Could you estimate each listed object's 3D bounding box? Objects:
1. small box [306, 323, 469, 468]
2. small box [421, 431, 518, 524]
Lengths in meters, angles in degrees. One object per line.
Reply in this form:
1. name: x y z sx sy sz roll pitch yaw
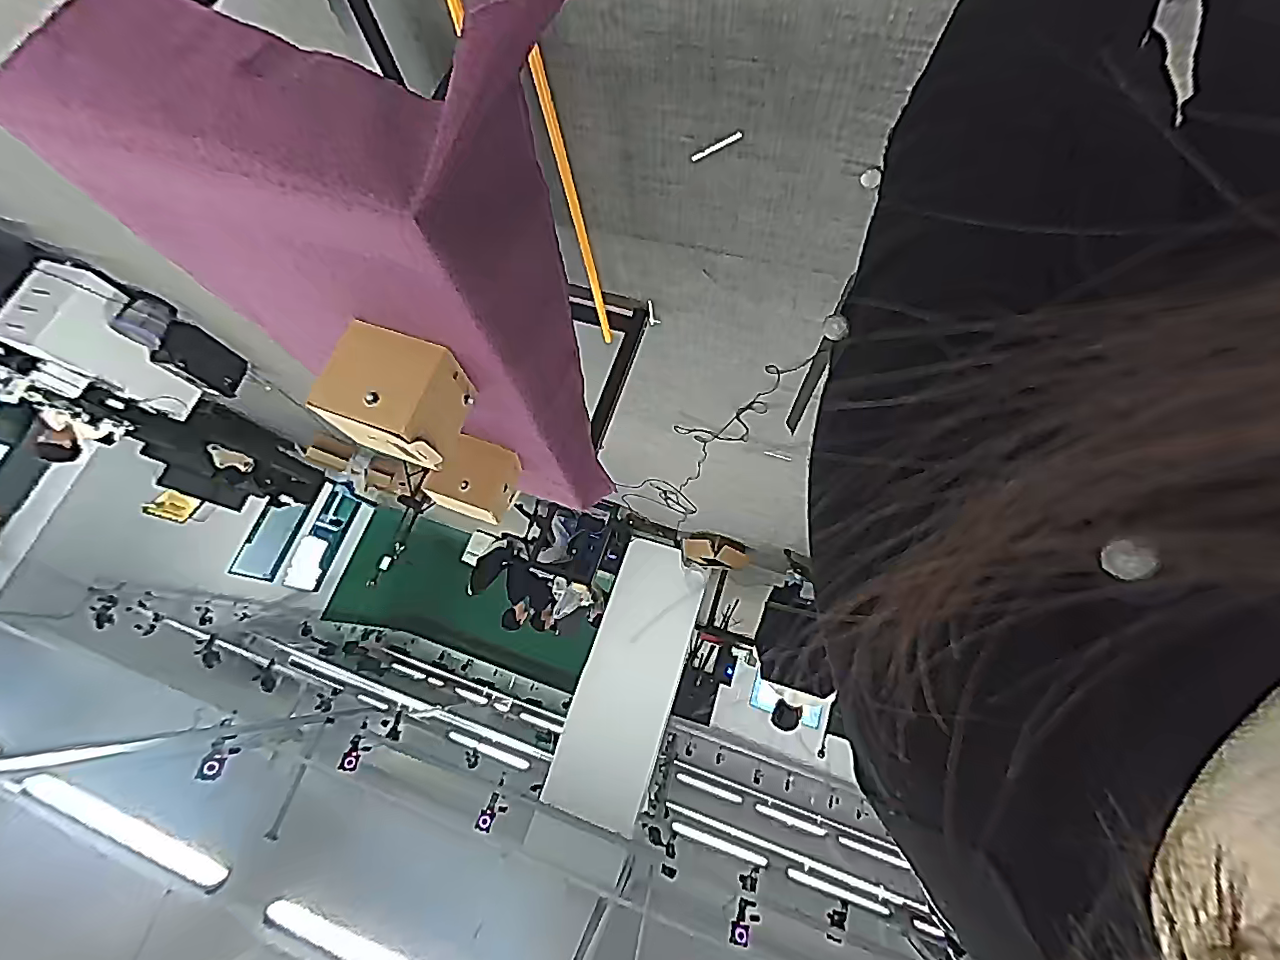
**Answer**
1. small box: -0.418 -0.144 0.936 0.179 0.176 0.168 19 163 7
2. small box: -0.422 -0.006 1.379 0.179 0.176 0.168 20 162 -1
